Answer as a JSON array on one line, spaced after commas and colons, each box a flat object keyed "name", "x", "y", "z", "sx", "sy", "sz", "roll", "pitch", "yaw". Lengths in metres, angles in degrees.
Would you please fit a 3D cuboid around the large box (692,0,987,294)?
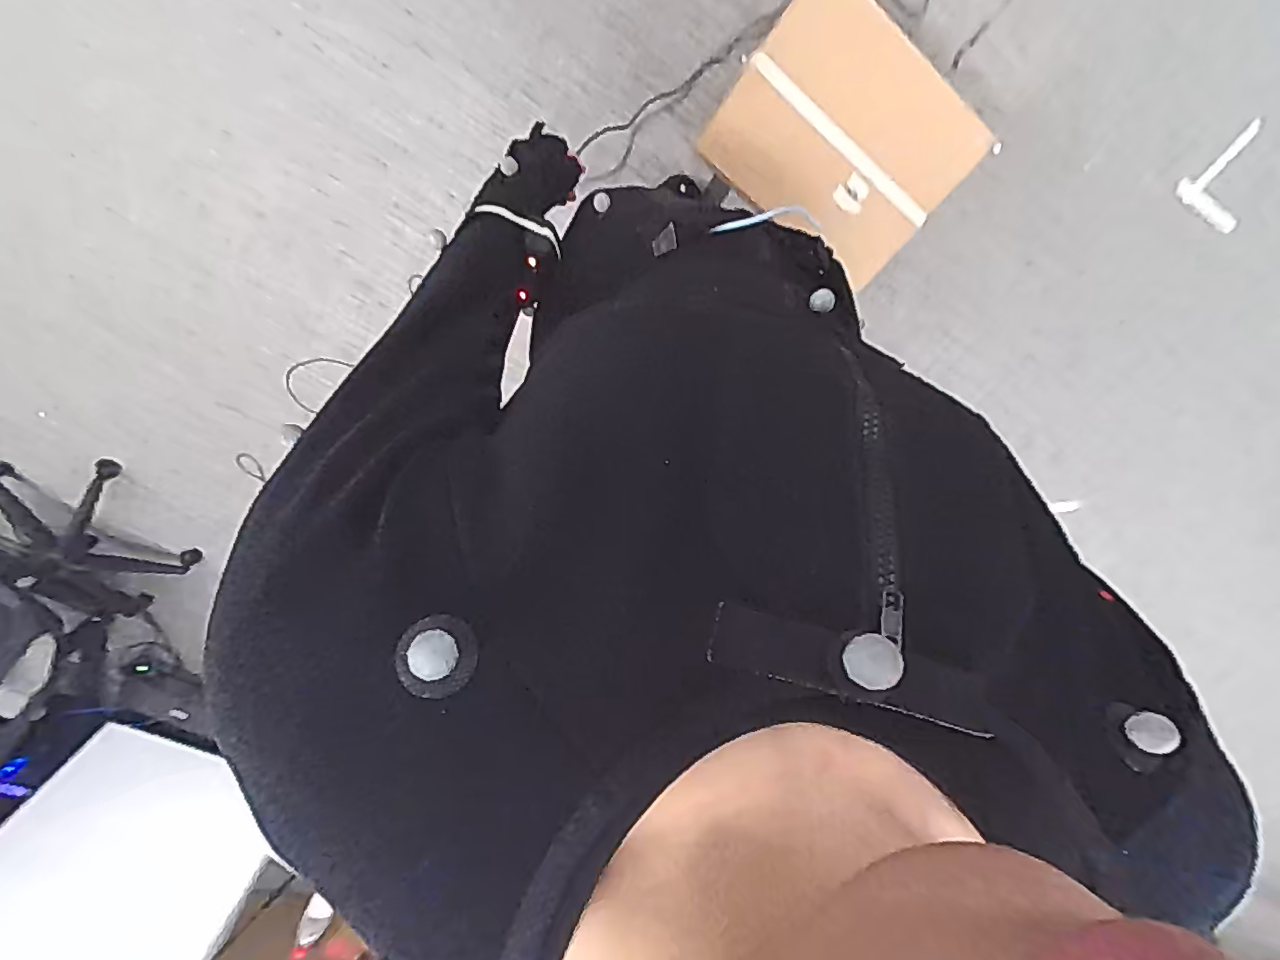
[{"name": "large box", "x": 0.354, "y": -0.644, "z": 1.065, "sx": 0.408, "sy": 0.320, "sz": 0.320, "roll": 34, "pitch": 117, "yaw": -16}]
